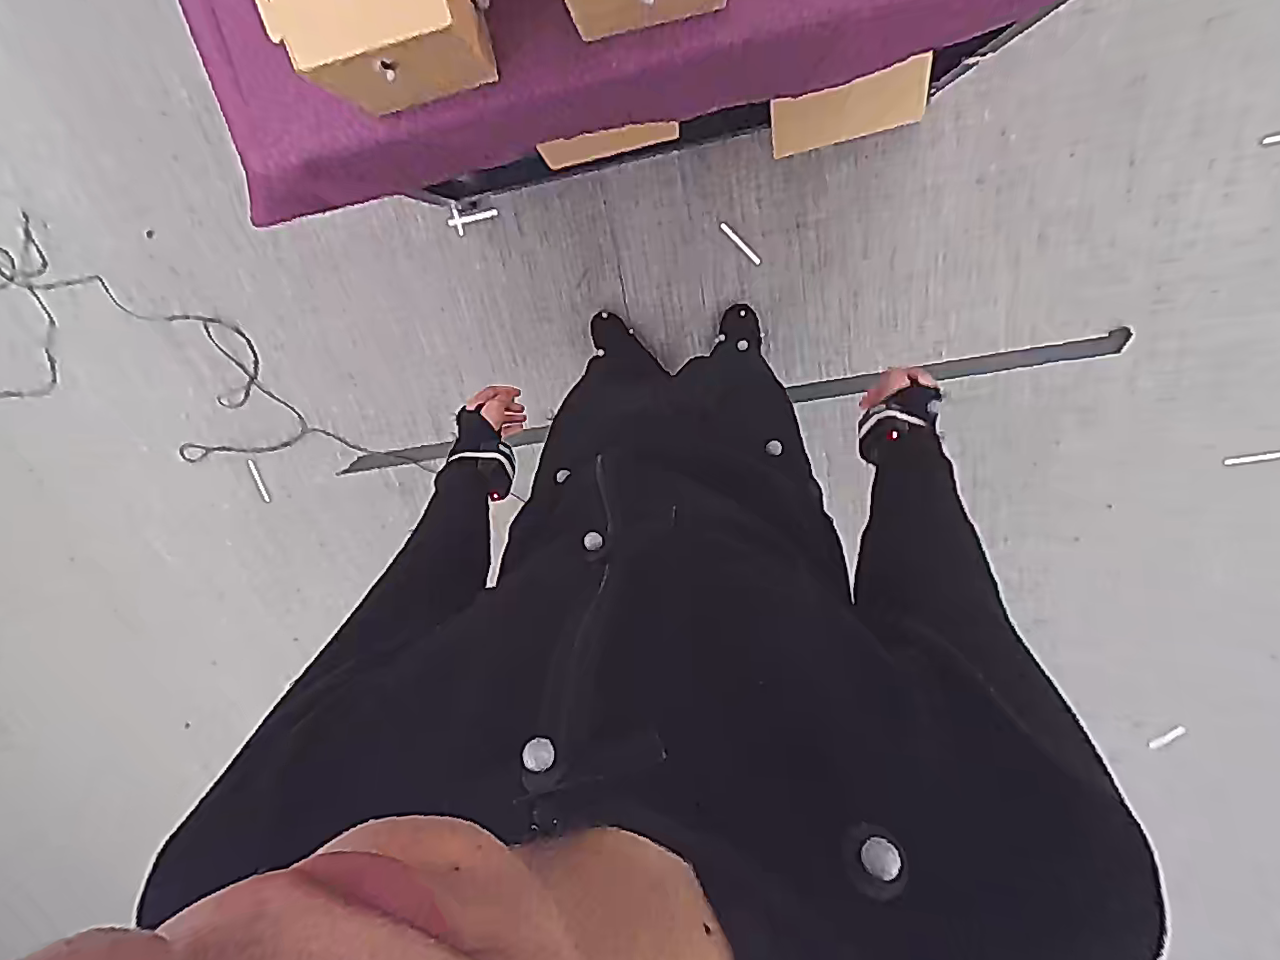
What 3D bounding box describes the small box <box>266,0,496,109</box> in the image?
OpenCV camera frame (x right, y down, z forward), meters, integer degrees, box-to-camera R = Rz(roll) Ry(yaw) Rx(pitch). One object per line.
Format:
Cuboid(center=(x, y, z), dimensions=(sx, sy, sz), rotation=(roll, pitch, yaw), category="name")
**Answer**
Cuboid(center=(-0.281, -0.532, 0.583), dimensions=(0.179, 0.176, 0.168), rotation=(-10, 110, 7), category="small box")
